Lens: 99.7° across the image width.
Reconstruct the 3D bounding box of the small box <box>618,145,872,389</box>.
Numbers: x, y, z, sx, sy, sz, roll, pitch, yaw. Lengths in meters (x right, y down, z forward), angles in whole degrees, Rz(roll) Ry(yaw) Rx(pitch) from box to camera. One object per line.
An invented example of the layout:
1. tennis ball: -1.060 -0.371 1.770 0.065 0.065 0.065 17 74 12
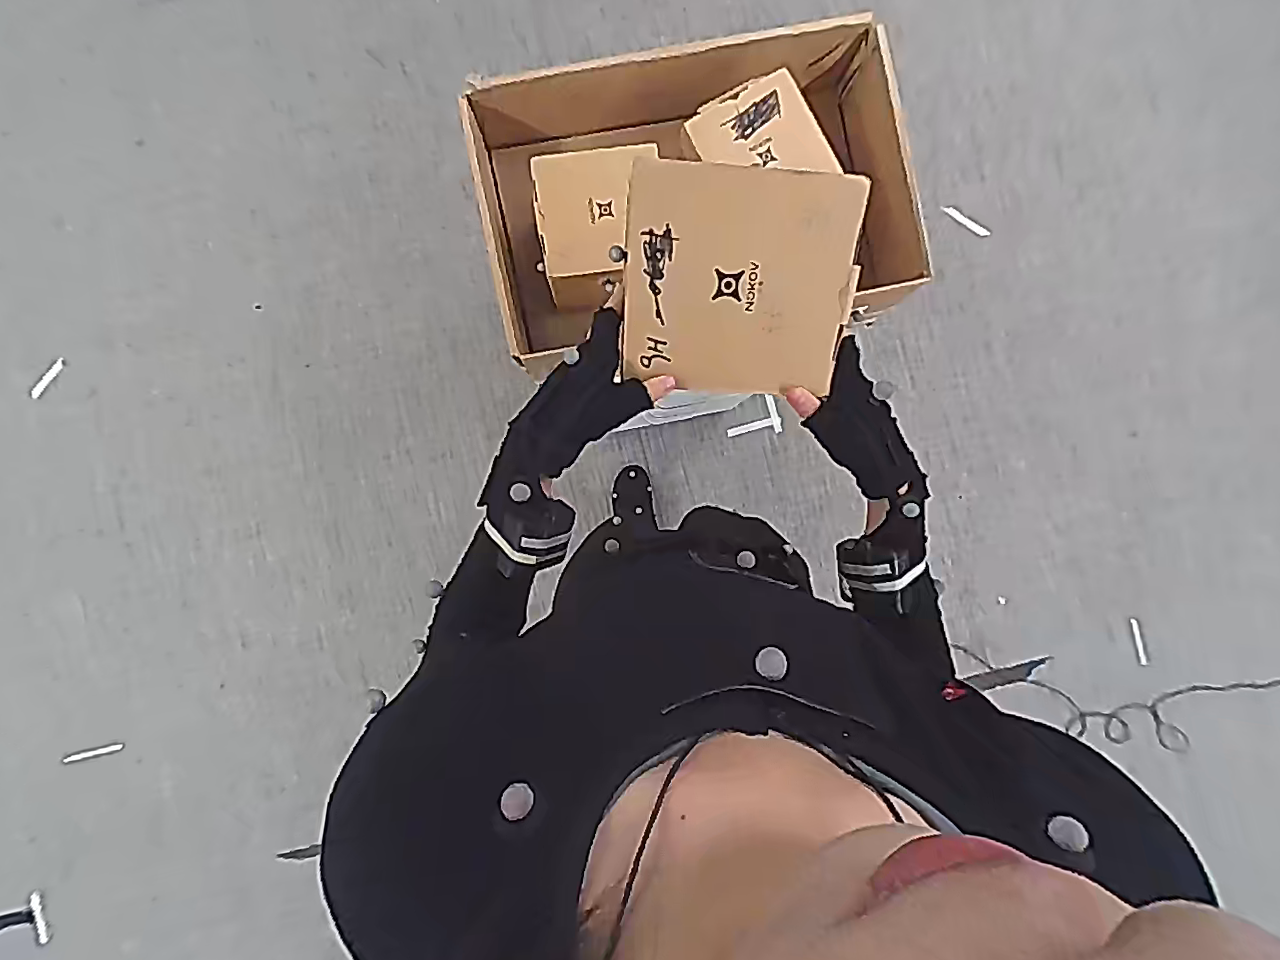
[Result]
1. small box: 0.074 -0.184 0.490 0.179 0.176 0.168 3 110 -4
